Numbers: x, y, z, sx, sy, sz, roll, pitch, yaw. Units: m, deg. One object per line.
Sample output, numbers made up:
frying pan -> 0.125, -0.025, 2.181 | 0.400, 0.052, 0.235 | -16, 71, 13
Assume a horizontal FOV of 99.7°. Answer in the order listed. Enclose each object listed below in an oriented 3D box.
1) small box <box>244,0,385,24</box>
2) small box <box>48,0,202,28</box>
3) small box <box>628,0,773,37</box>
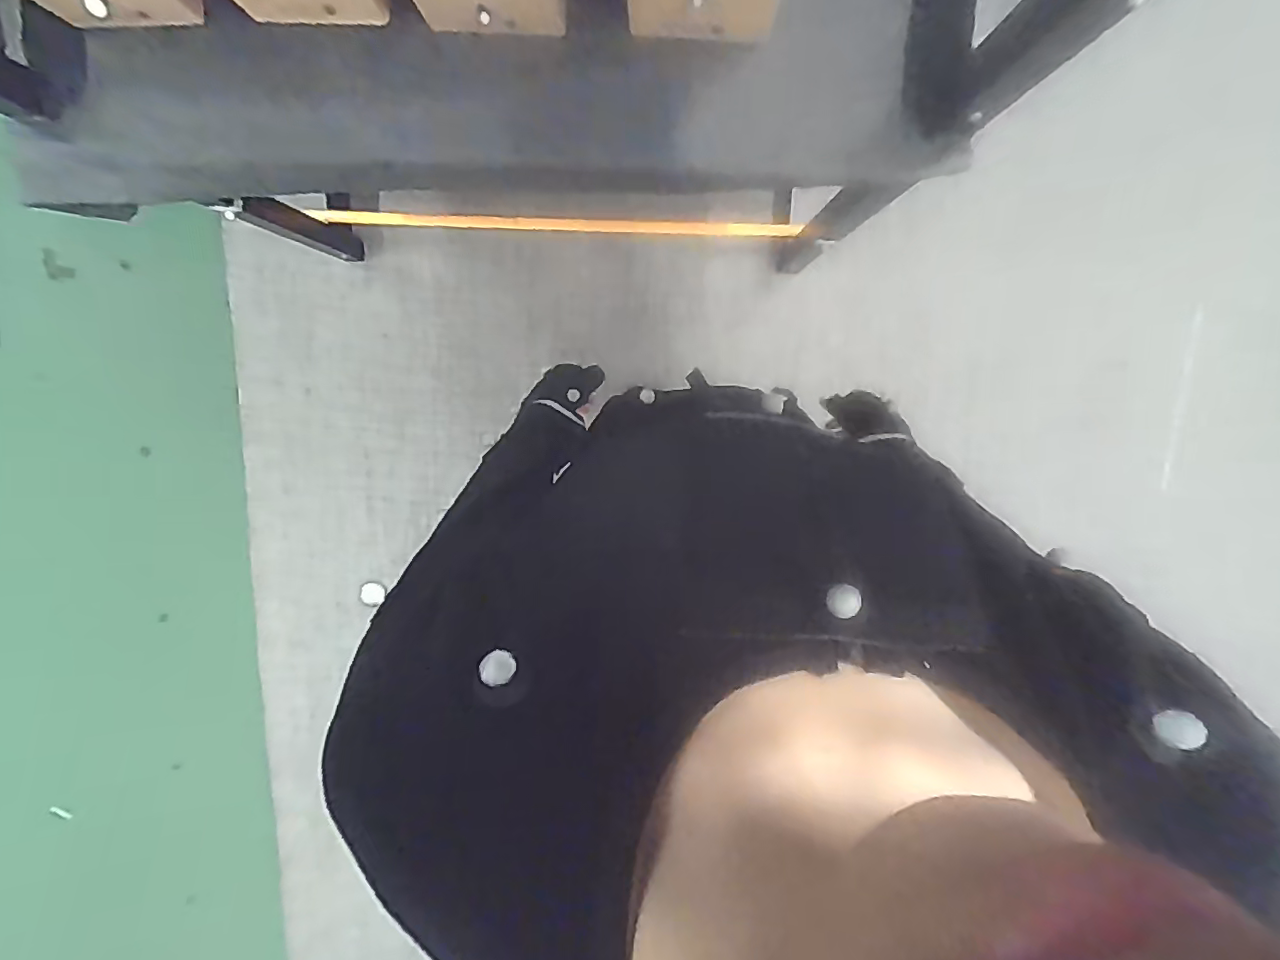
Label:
small box -> -0.384, -0.624, 0.564 | 0.168, 0.176, 0.179 | 2, 99, 0
small box -> -0.611, -0.626, 0.566 | 0.168, 0.176, 0.179 | 0, 100, 1
small box -> 0.071, -0.601, 0.553 | 0.168, 0.176, 0.179 | 5, 99, 0
